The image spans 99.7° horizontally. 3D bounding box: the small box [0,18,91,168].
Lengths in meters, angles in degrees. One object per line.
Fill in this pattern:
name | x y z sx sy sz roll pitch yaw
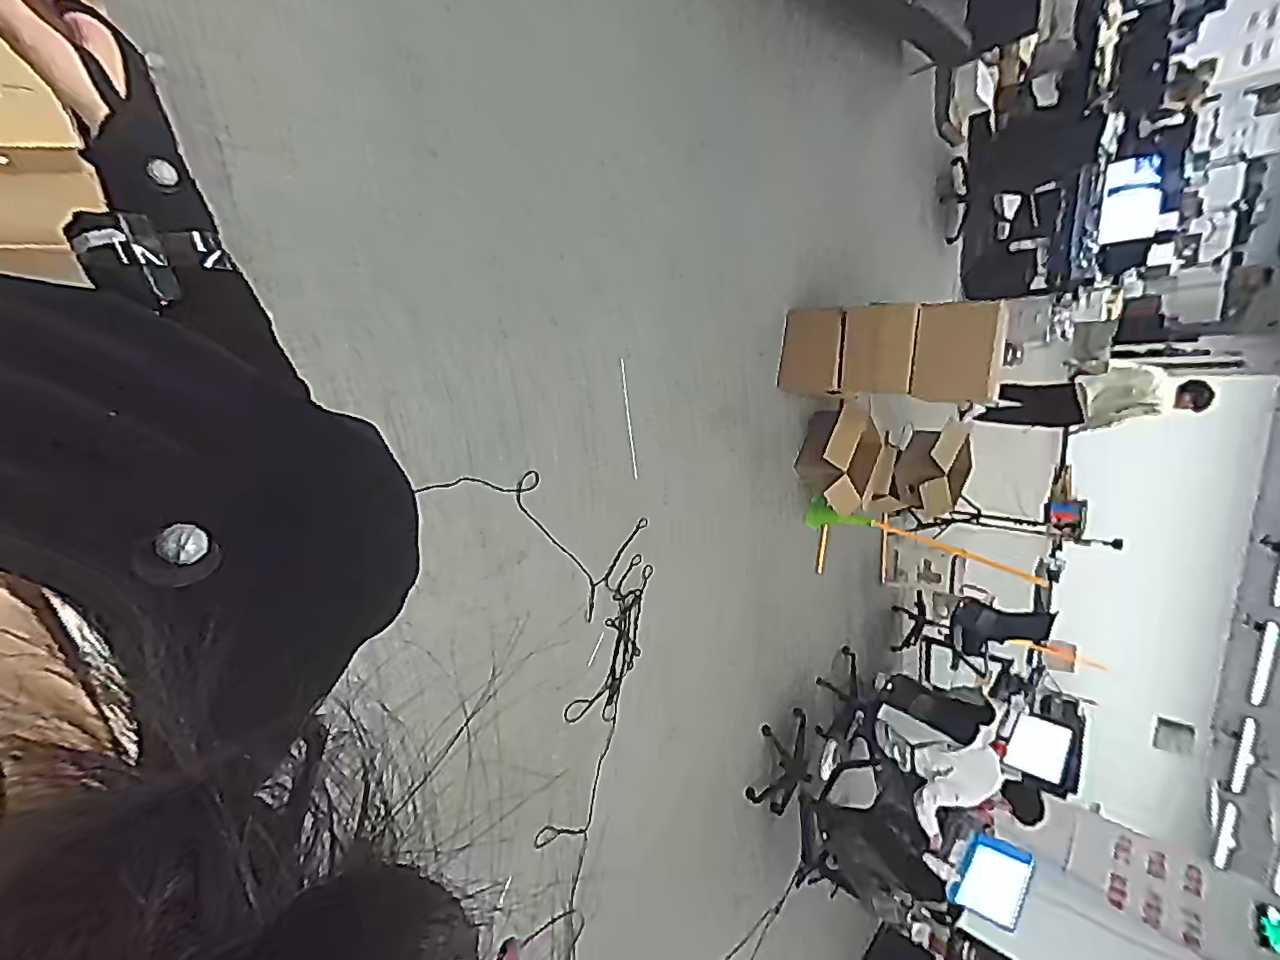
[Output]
small box | -1.037 -0.615 0.870 0.179 0.176 0.168 -28 117 -38
